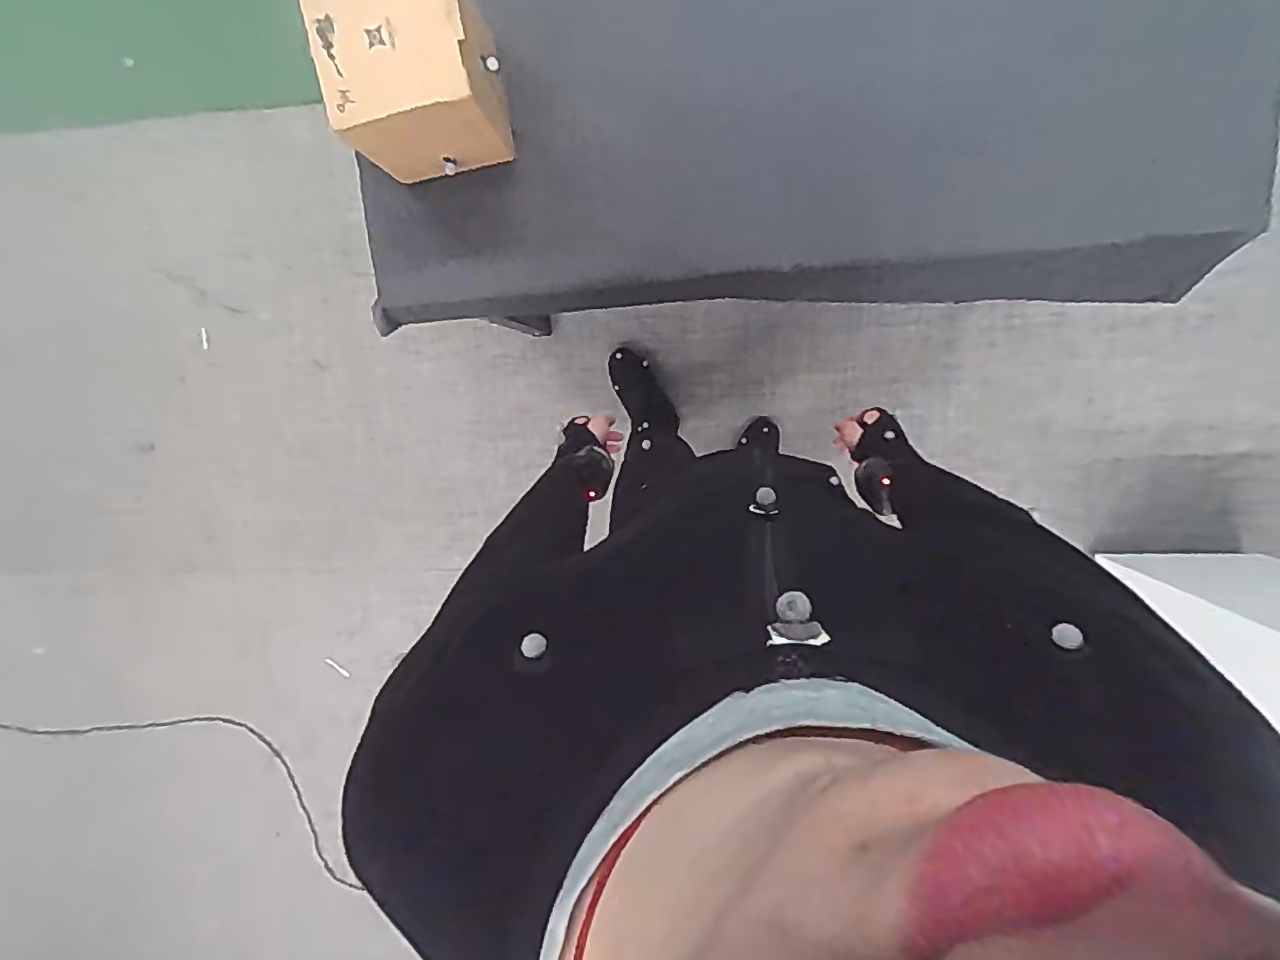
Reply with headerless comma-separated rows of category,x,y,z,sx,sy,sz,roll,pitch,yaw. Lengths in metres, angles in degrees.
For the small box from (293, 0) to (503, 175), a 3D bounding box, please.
small box,-0.282,-0.509,0.670,0.179,0.176,0.168,-10,99,5
